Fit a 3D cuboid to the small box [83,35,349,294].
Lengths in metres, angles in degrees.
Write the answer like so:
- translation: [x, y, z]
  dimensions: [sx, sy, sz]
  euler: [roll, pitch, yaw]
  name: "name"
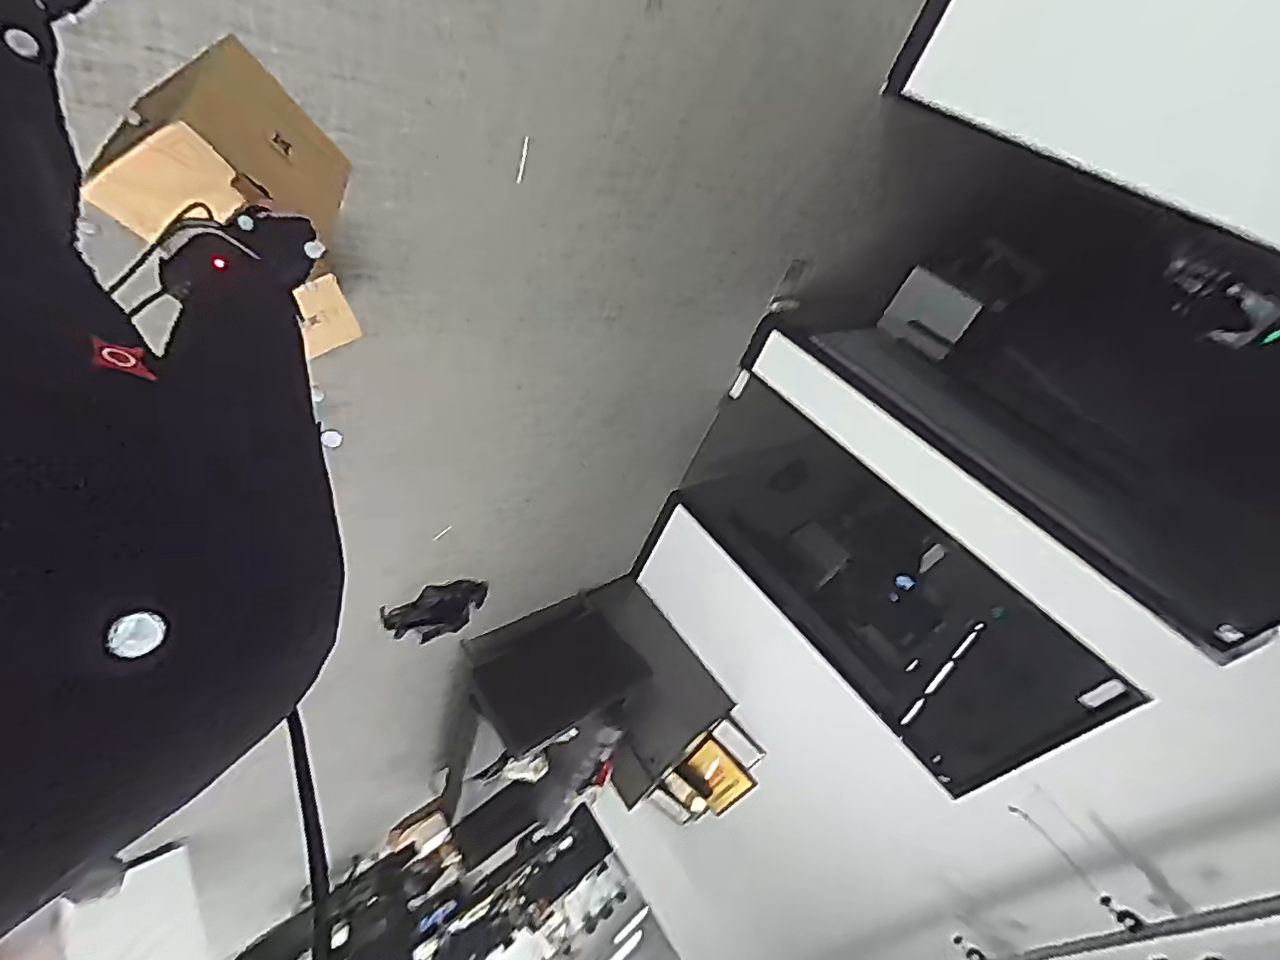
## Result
- translation: [-0.484, -0.354, 0.633]
  dimensions: [0.176, 0.179, 0.168]
  euler: [-17, 149, 17]
  name: "small box"
